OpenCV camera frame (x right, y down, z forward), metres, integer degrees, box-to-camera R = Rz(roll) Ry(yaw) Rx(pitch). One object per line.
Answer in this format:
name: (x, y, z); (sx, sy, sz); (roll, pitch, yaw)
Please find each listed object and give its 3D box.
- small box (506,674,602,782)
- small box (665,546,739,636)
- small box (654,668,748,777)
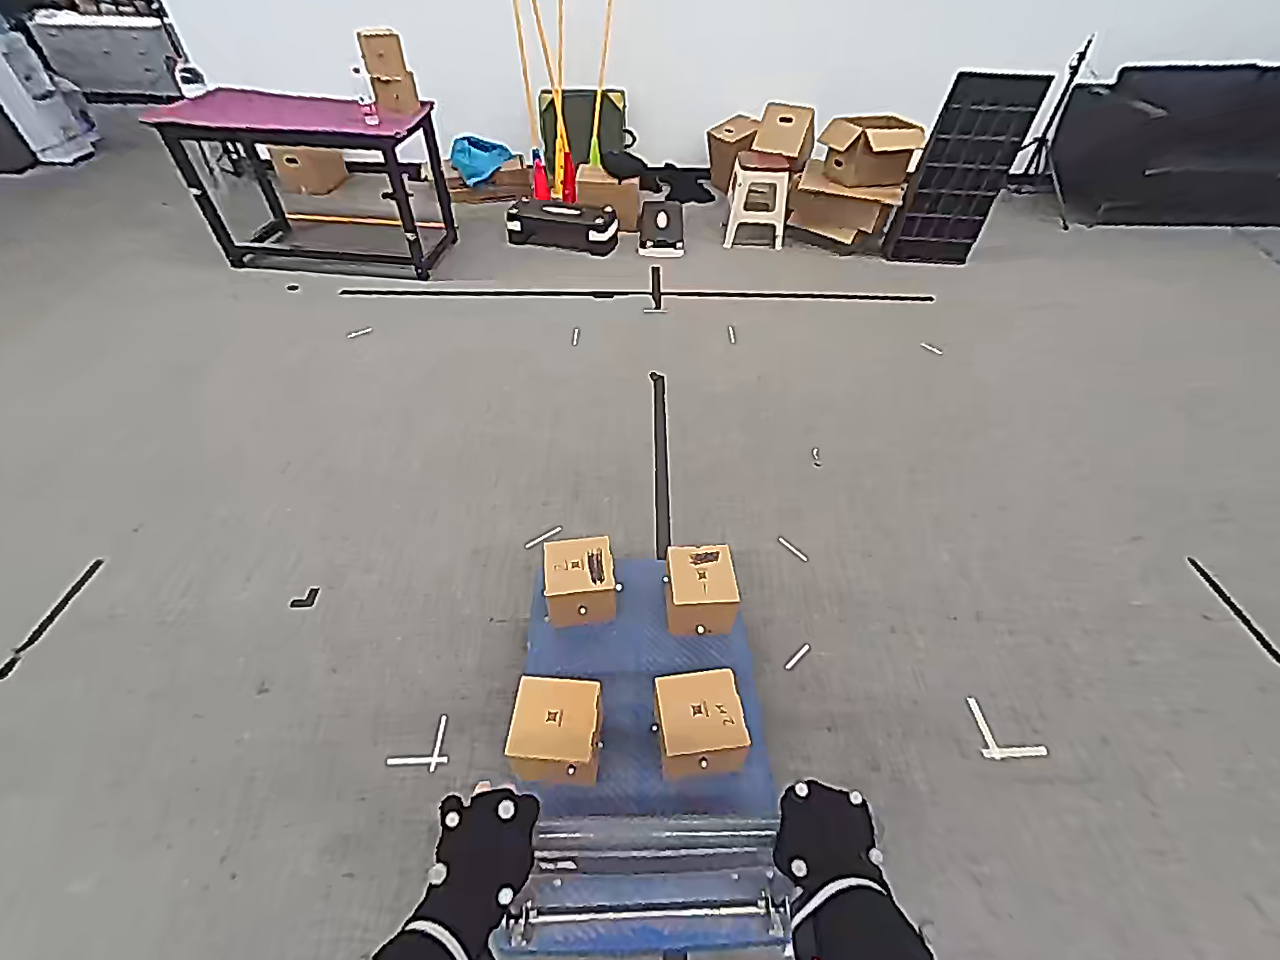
small box: (-0.180, 0.549, 1.192); (0.179, 0.176, 0.168); (4, 46, 1)
small box: (0.158, 0.295, 1.441); (0.168, 0.176, 0.179); (-1, 47, -3)
small box: (0.127, 0.542, 1.201); (0.179, 0.176, 0.168); (-5, 46, -5)
